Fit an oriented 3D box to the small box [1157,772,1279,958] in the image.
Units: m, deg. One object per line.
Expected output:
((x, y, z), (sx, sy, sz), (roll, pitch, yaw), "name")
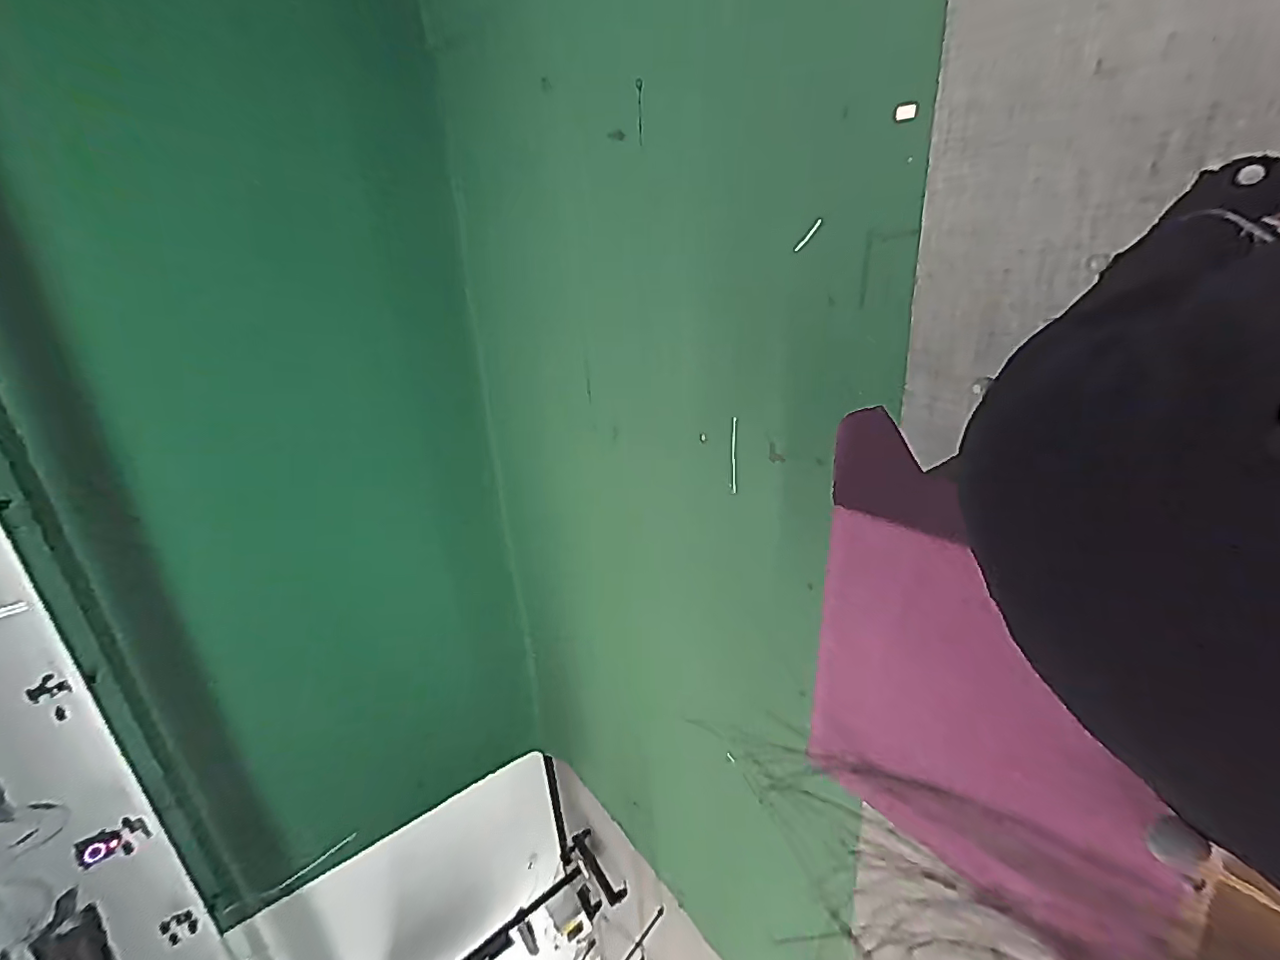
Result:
((0.658, 0.435, 0.528), (0.168, 0.176, 0.179), (25, 125, 48), "small box")

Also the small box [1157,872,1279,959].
((0.530, 0.485, 0.439), (0.168, 0.176, 0.179), (24, 124, 47), "small box")
